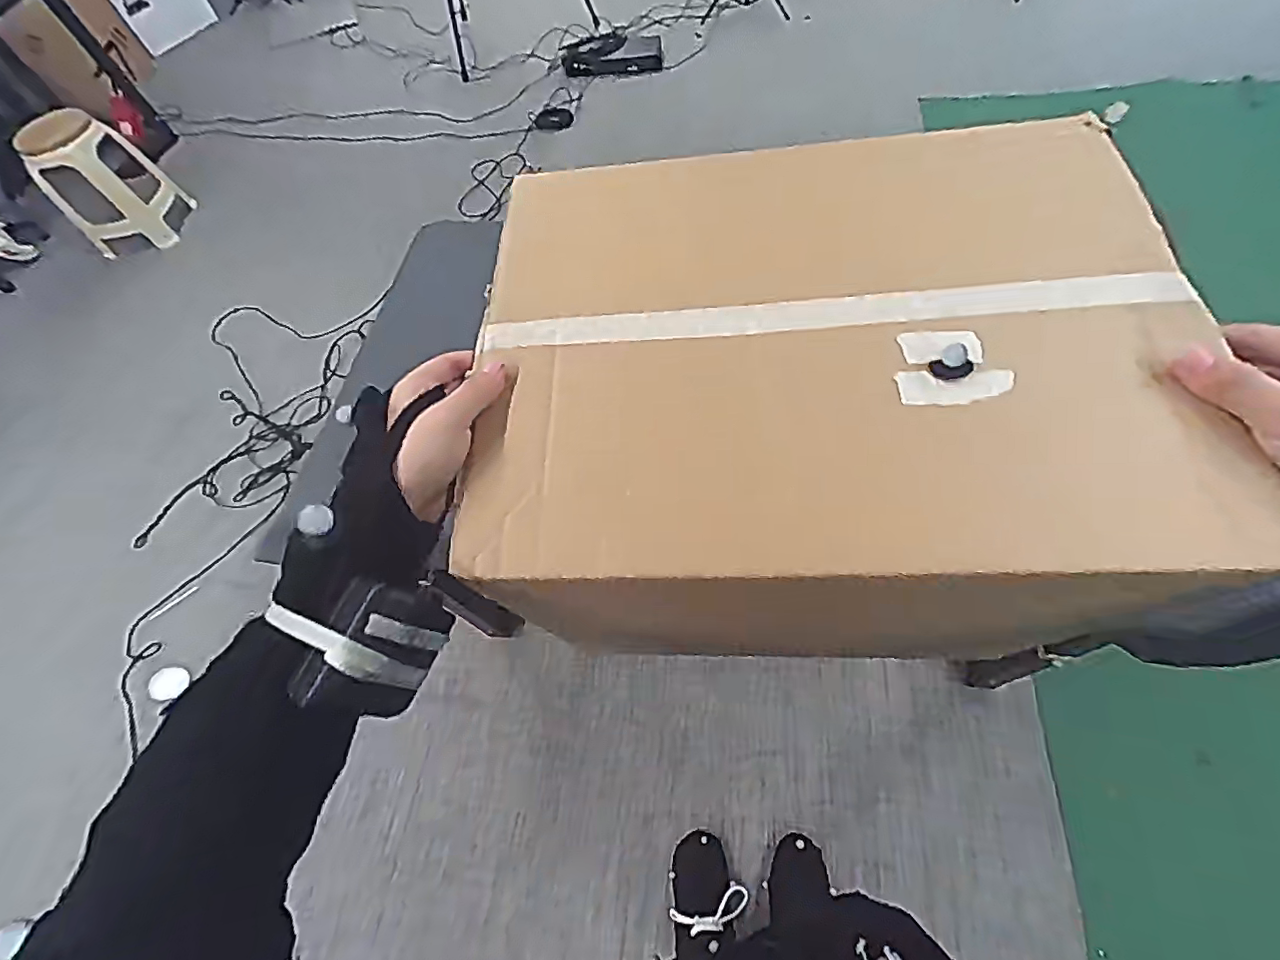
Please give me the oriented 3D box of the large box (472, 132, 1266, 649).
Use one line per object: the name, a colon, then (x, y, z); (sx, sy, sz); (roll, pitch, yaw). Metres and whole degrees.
large box: (0.118, -0.038, 0.473); (0.408, 0.320, 0.320); (-2, 65, 6)
